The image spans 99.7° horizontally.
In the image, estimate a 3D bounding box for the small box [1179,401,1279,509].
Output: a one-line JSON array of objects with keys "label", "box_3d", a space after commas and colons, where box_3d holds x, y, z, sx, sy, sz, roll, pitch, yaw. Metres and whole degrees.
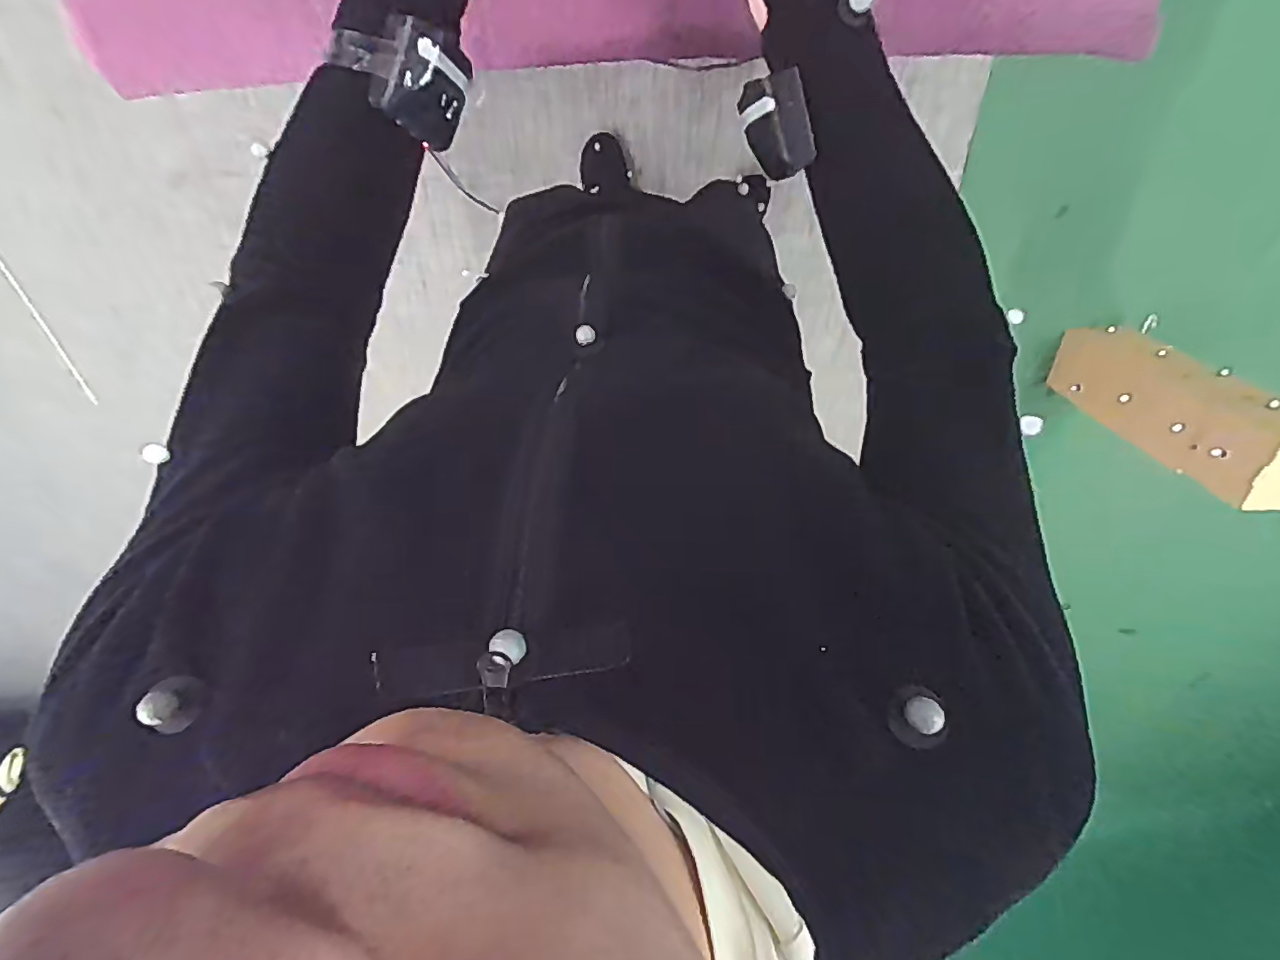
[{"label": "small box", "box_3d": [1.295, -0.055, 1.115, 0.179, 0.176, 0.168, -1, 125, 2]}]

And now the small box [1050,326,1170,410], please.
[{"label": "small box", "box_3d": [1.311, -0.317, 1.528, 0.168, 0.176, 0.179, -4, 125, 3]}]

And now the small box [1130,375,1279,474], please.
[{"label": "small box", "box_3d": [1.307, -0.136, 1.258, 0.168, 0.176, 0.179, -4, 125, 4]}]

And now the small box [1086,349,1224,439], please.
[{"label": "small box", "box_3d": [1.310, -0.224, 1.396, 0.168, 0.176, 0.179, -2, 124, 2]}]
